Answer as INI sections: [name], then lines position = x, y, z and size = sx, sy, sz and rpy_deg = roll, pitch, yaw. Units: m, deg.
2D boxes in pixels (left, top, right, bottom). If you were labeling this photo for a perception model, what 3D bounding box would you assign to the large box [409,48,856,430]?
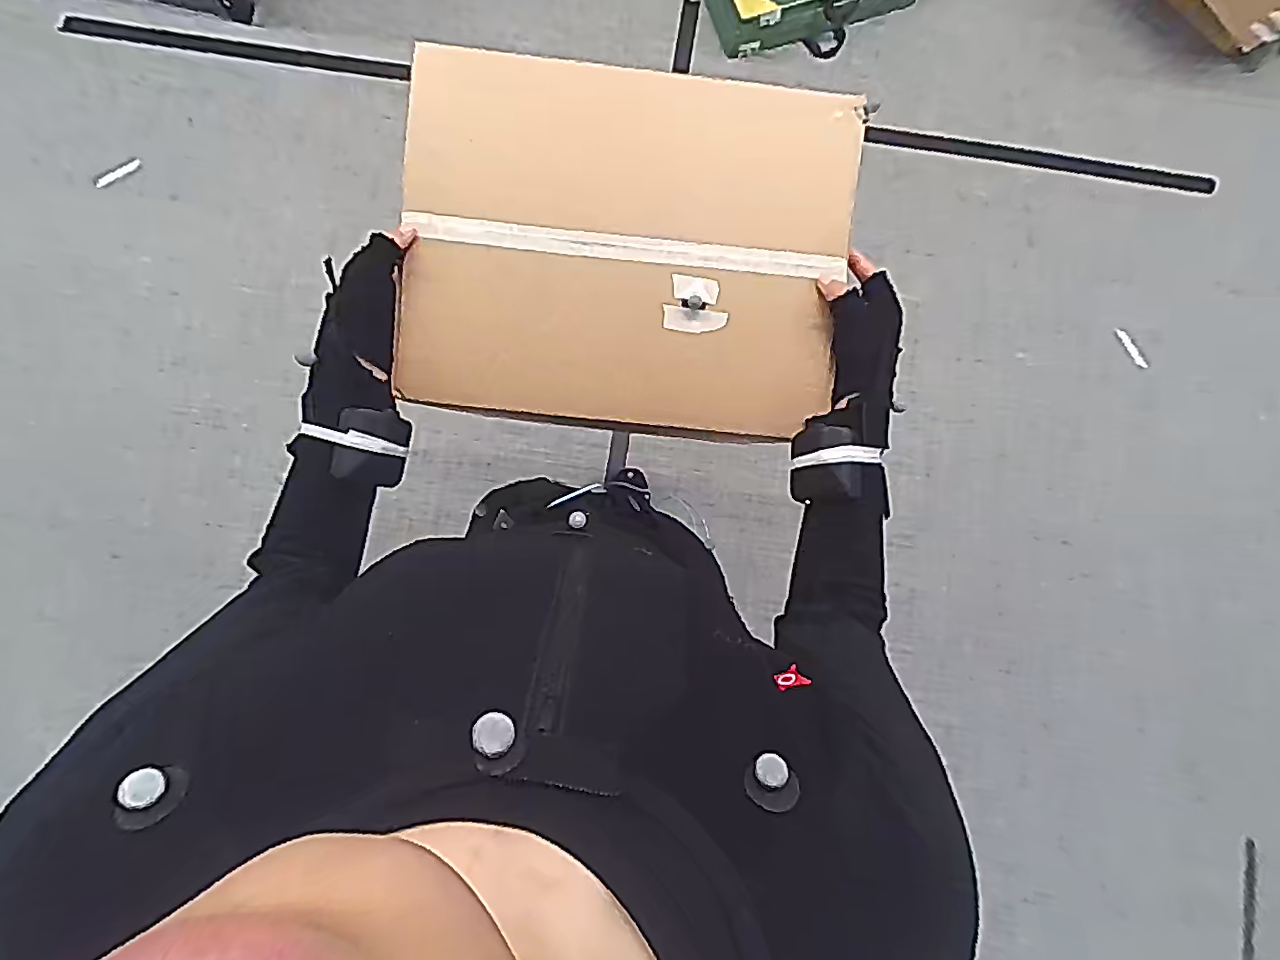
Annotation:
[large box]
position = -0.015, -0.233, 0.652
size = 0.408, 0.320, 0.320
rpy_deg = 6, 95, -2
